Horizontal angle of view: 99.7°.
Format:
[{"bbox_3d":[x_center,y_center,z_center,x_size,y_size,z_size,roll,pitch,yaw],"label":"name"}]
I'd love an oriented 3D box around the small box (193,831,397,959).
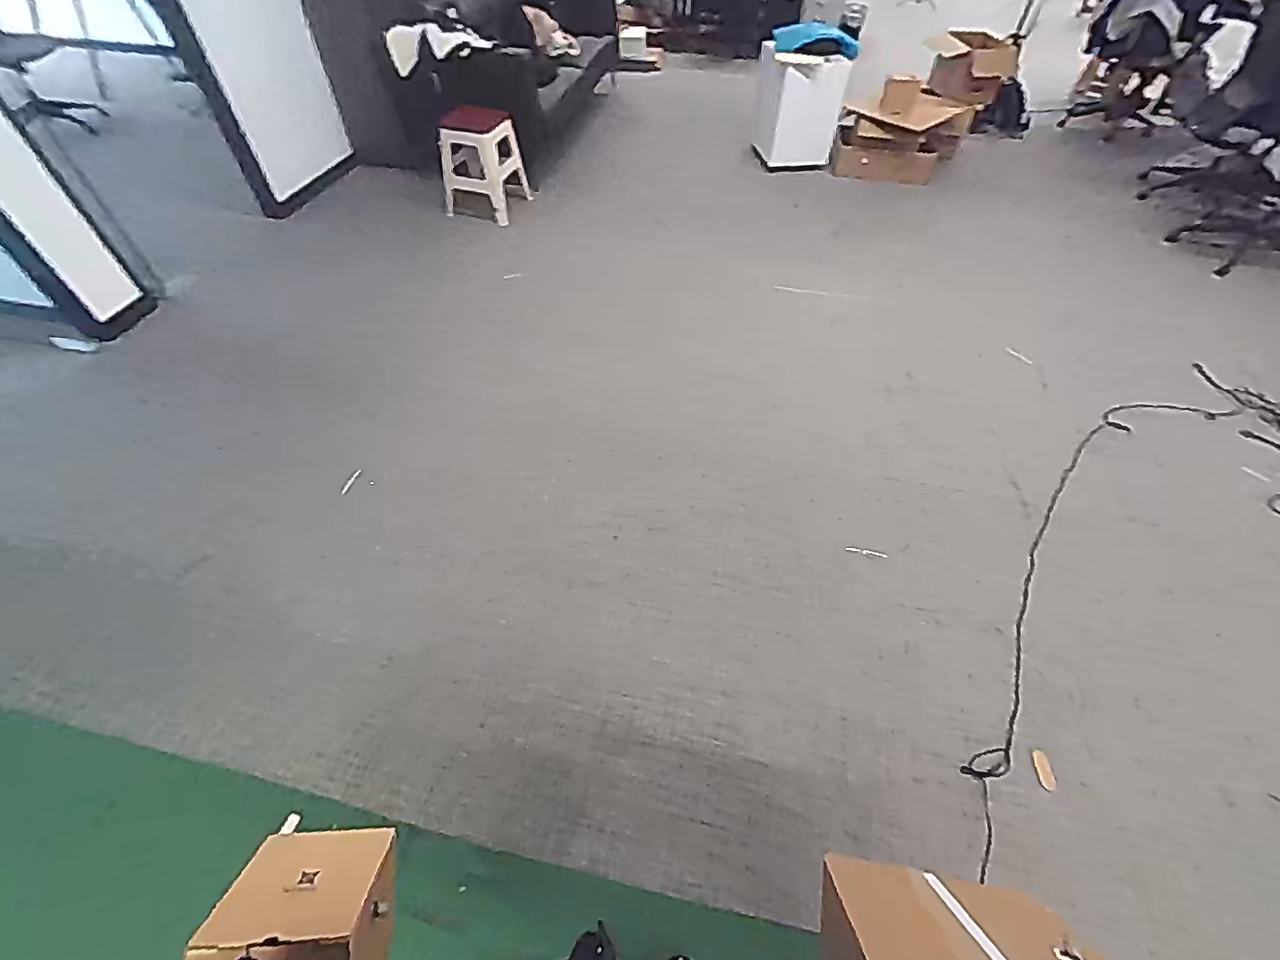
[{"bbox_3d":[-0.418,0.578,0.674,0.168,0.179,0.176,3,93,-8],"label":"small box"}]
